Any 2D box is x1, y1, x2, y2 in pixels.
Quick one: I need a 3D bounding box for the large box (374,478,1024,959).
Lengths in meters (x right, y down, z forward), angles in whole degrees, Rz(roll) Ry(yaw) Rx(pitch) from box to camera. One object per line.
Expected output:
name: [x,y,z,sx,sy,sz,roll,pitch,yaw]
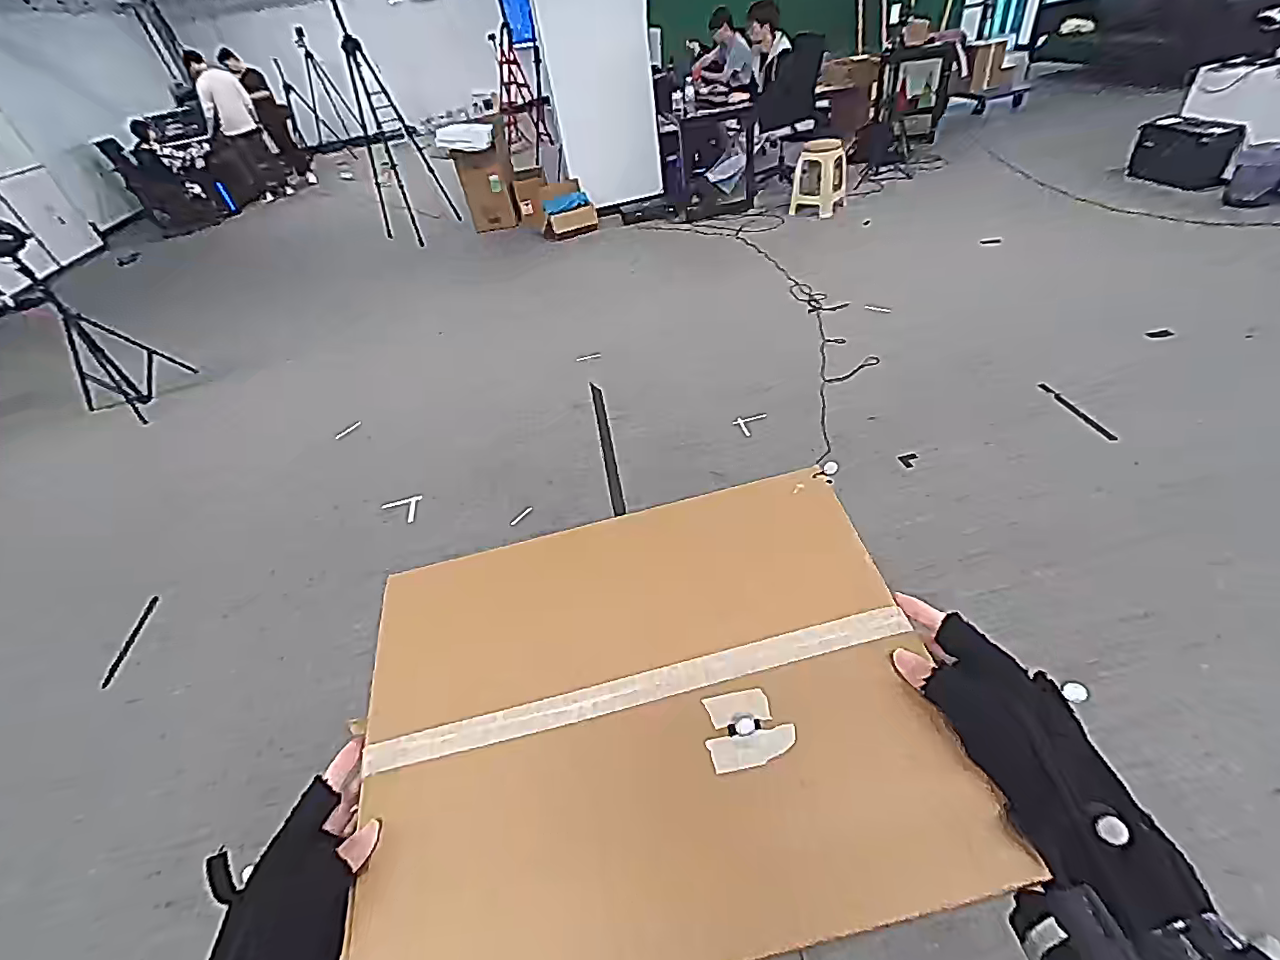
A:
large box: [0.026,0.252,0.520,0.408,0.320,0.320,-14,51,-1]
